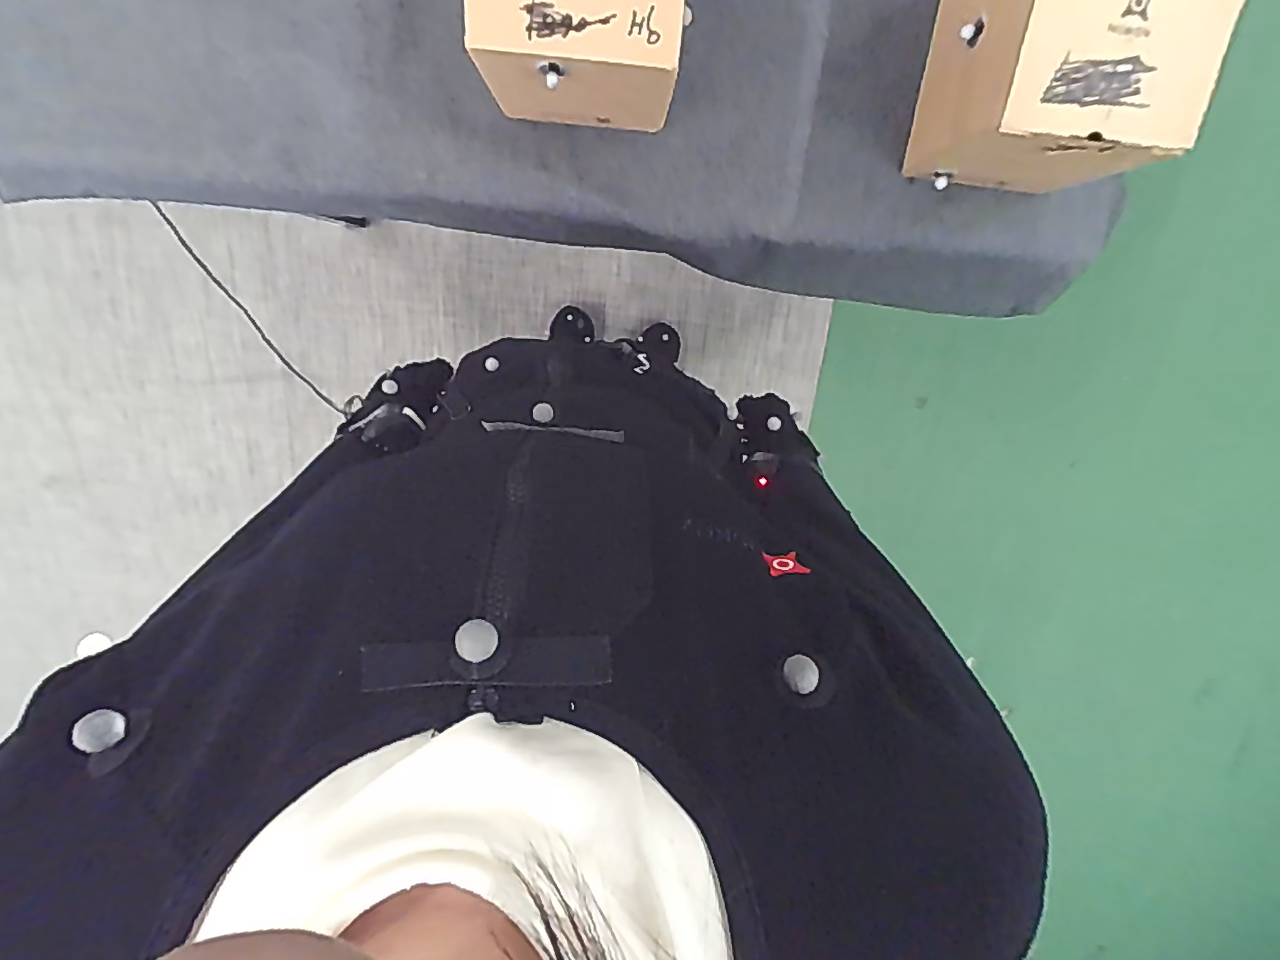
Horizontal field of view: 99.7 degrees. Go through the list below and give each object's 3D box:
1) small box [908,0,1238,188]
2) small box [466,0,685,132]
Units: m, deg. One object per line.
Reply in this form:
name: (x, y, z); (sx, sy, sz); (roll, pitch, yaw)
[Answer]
small box: (0.377, -0.386, 0.497); (0.168, 0.176, 0.179); (5, 107, -3)
small box: (-0.047, -0.434, 0.467); (0.168, 0.176, 0.179); (4, 107, -3)
